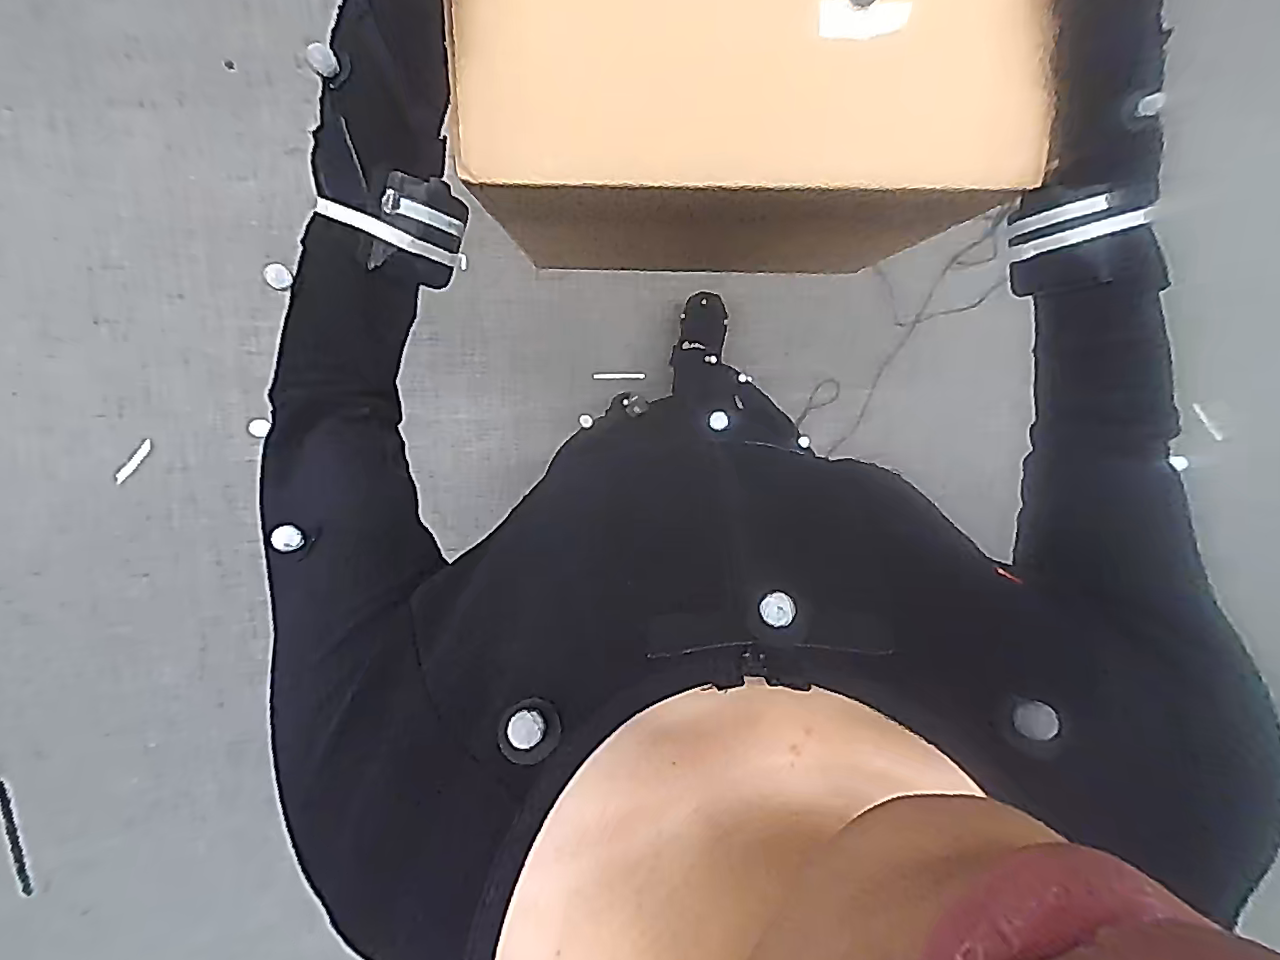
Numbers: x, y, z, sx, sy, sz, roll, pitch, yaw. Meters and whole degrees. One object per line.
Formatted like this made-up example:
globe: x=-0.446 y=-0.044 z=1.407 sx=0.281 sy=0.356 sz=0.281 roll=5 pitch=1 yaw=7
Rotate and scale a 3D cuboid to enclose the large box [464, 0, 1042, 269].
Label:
large box: x=0.072 y=-0.393 z=0.507 sx=0.408 sy=0.320 sz=0.320 roll=0 pitch=101 yaw=-2
